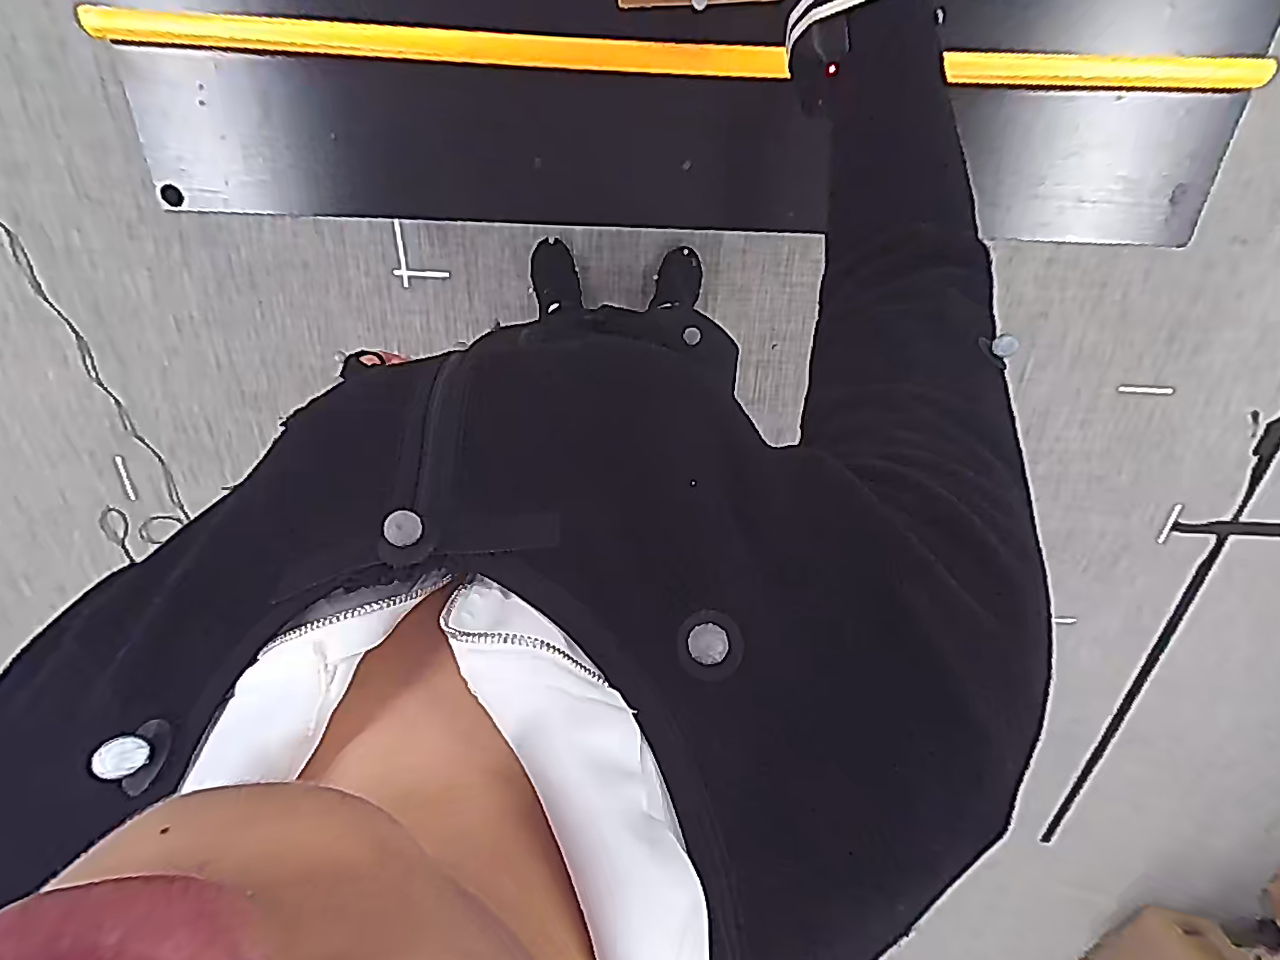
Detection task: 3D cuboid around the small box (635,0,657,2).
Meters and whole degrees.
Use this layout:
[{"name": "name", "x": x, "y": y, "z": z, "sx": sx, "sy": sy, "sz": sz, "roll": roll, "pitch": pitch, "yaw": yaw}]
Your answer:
[{"name": "small box", "x": 0.061, "y": -0.535, "z": 0.442, "sx": 0.168, "sy": 0.176, "sz": 0.179, "roll": -2, "pitch": 116, "yaw": 0}]
